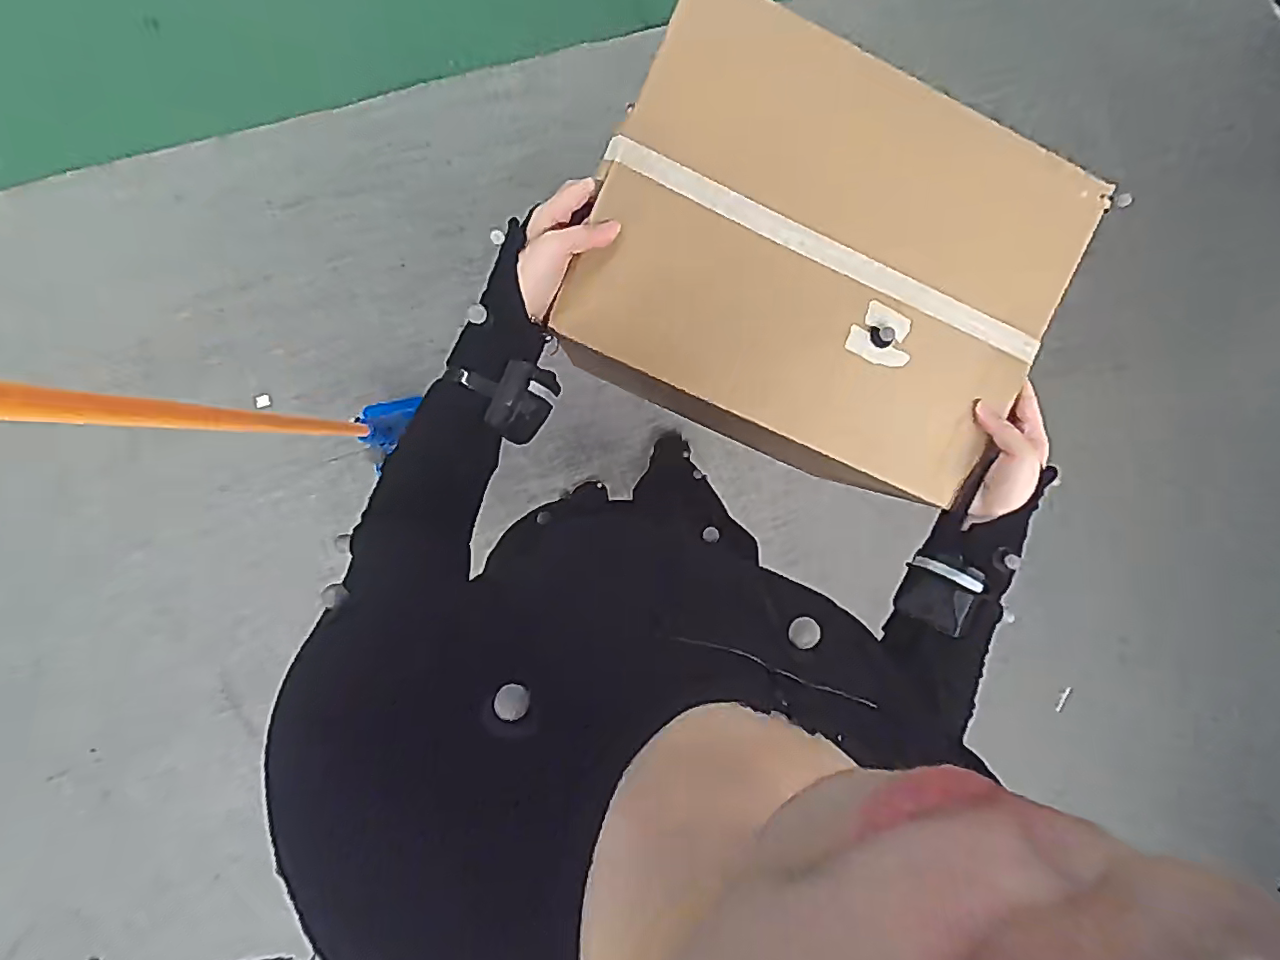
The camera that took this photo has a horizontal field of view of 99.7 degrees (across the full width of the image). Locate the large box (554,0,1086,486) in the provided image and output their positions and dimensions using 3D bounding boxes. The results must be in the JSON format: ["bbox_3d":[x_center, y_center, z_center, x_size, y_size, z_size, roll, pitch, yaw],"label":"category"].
[{"bbox_3d":[0.149,-0.220,0.618,0.408,0.320,0.320,23,95,-7],"label":"large box"}]

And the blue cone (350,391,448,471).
[{"bbox_3d":[-0.576,-0.122,1.236,0.193,0.380,0.192,-11,93,-9],"label":"blue cone"}]
